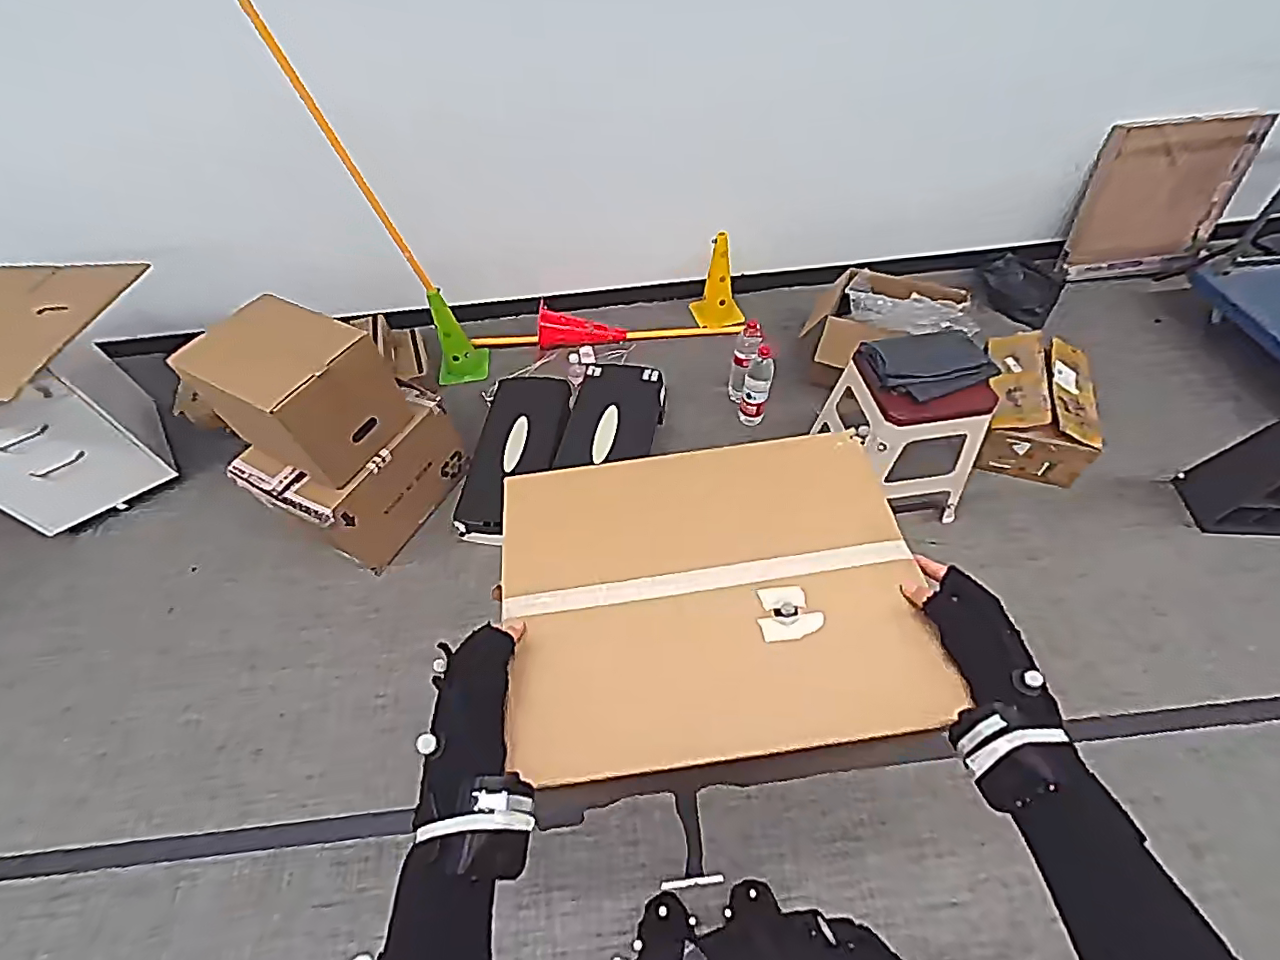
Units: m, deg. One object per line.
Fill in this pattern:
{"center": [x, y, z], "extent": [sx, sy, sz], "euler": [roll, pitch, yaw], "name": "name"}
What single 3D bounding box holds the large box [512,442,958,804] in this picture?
{"center": [0.075, 0.191, 0.677], "extent": [0.408, 0.320, 0.320], "euler": [-8, 58, -2], "name": "large box"}
